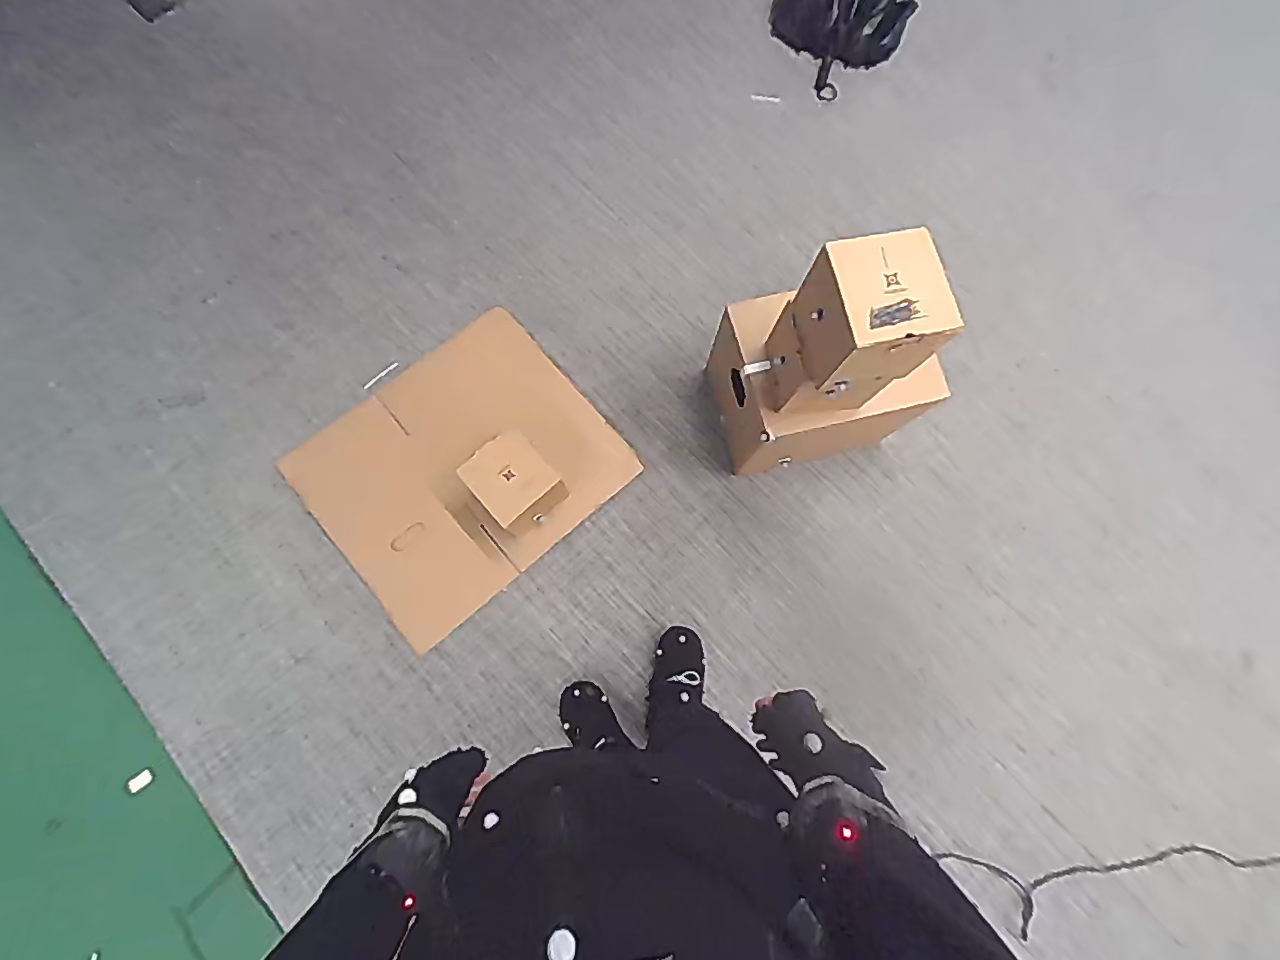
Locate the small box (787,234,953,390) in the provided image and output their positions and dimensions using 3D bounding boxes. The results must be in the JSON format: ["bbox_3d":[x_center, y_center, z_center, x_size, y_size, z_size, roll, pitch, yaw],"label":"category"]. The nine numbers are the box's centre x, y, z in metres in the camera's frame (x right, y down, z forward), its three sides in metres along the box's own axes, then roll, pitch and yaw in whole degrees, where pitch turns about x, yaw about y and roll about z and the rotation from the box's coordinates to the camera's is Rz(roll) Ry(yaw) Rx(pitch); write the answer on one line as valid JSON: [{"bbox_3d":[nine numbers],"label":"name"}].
[{"bbox_3d":[0.360,-0.260,0.881,0.168,0.176,0.179,-14,78,-5],"label":"small box"}]

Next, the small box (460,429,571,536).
[{"bbox_3d":[-0.284,0.015,1.268,0.168,0.176,0.179,-43,81,-8],"label":"small box"}]

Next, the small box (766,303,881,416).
[{"bbox_3d":[0.354,-0.234,1.047,0.179,0.176,0.168,-8,75,-4],"label":"small box"}]
